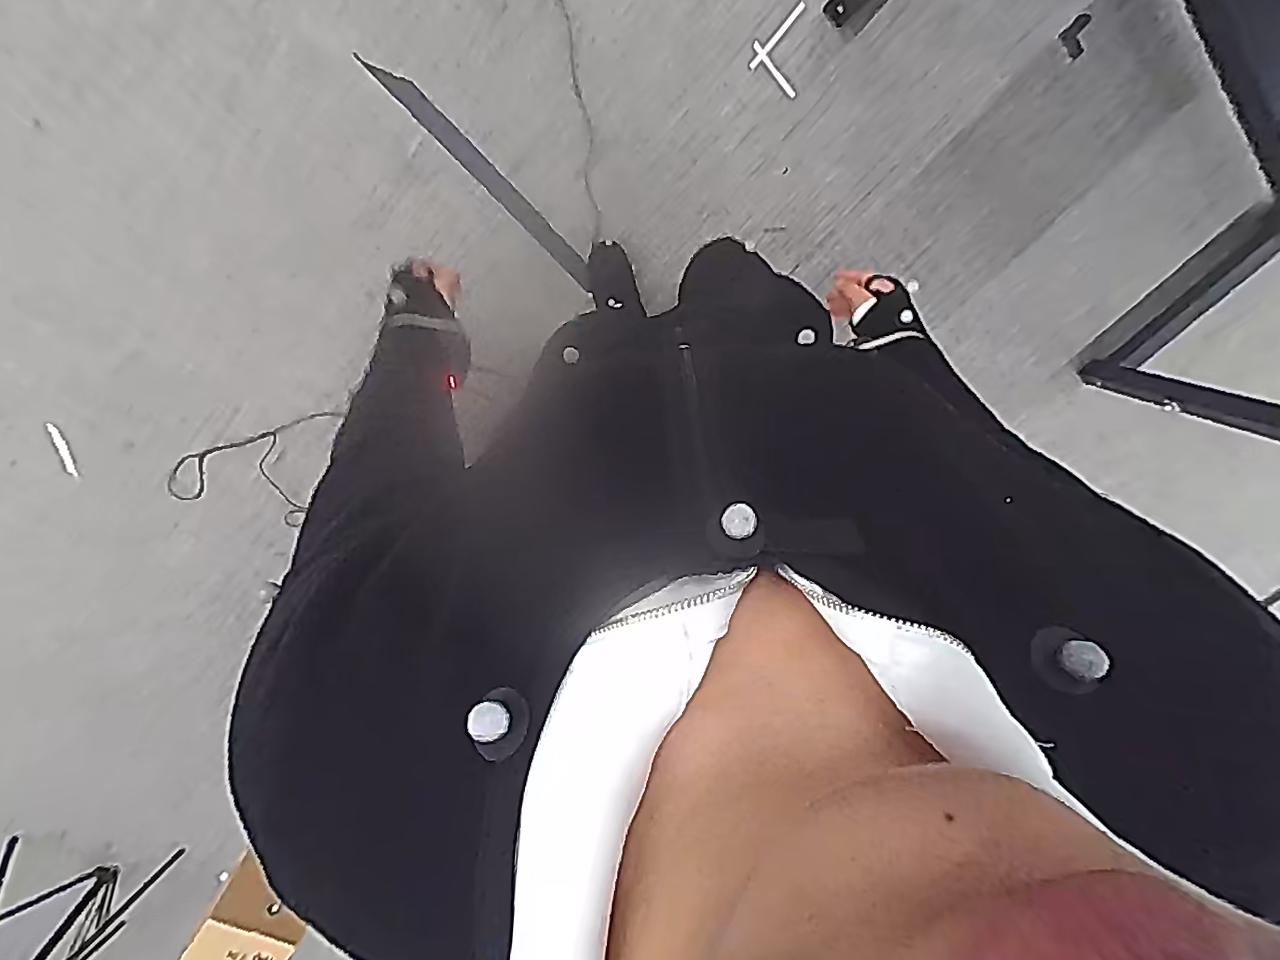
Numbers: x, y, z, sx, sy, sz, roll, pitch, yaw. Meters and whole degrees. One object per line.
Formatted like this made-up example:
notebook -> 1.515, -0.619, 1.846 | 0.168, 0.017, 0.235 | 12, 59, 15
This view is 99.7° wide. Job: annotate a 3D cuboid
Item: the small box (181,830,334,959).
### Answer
small box -> -0.778, 0.872, 1.123 | 0.179, 0.176, 0.168 | 33, 104, -16
